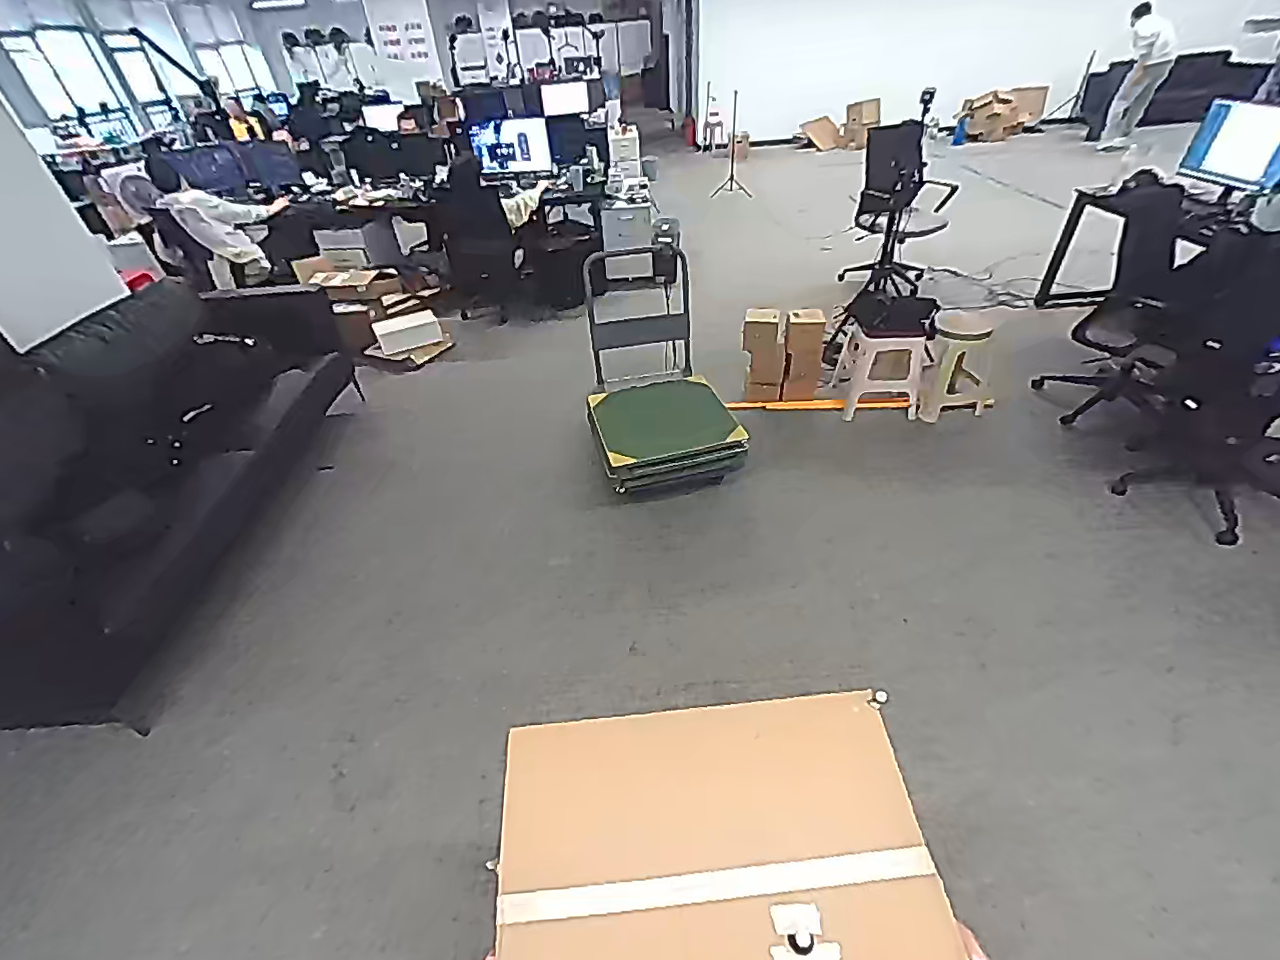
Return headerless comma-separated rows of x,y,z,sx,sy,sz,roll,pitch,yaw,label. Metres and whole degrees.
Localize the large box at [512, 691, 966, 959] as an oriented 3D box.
0.083,0.473,0.623,0.408,0.320,0.320,-6,52,-2,large box
